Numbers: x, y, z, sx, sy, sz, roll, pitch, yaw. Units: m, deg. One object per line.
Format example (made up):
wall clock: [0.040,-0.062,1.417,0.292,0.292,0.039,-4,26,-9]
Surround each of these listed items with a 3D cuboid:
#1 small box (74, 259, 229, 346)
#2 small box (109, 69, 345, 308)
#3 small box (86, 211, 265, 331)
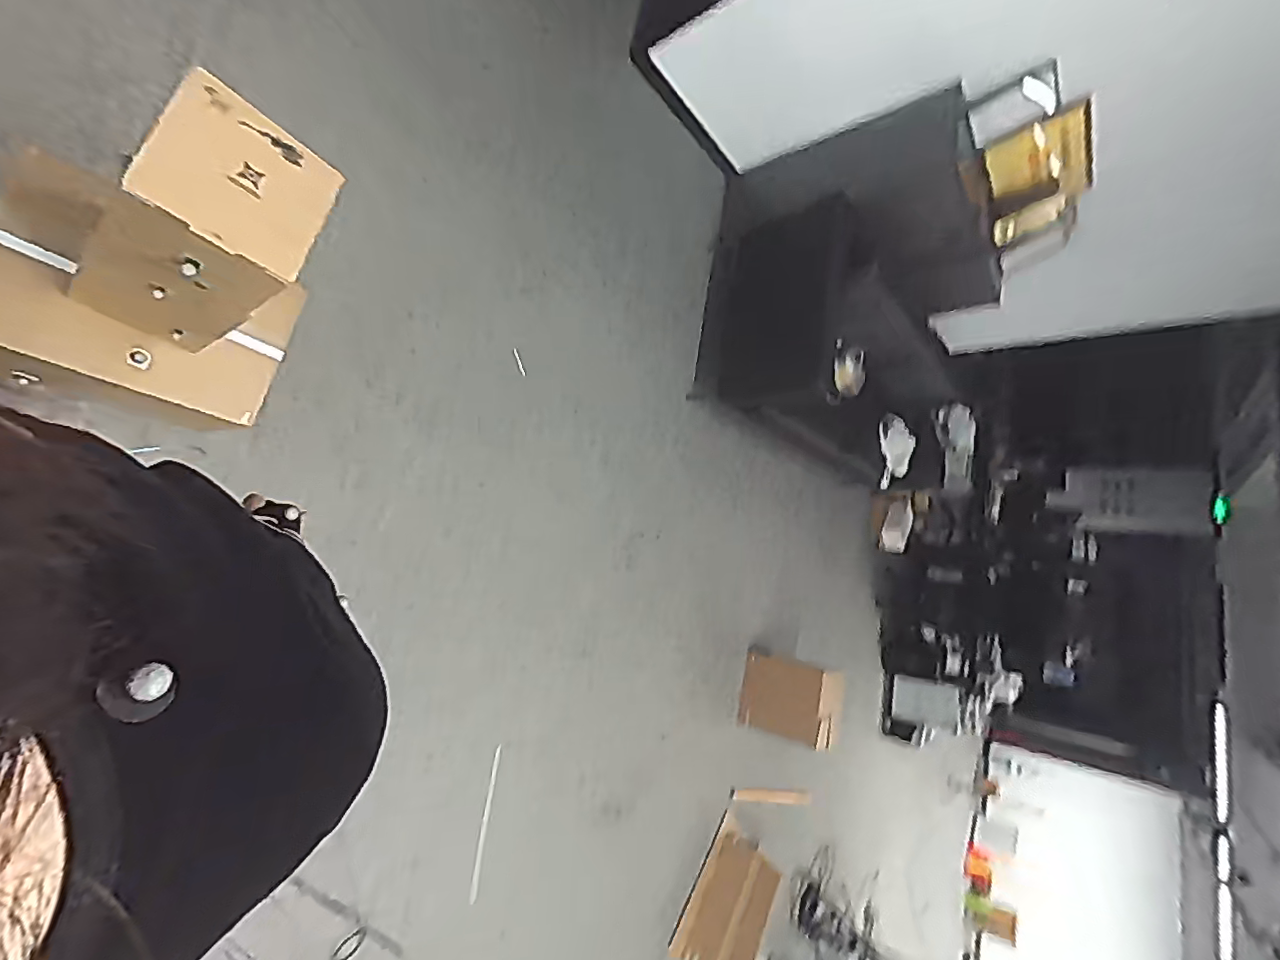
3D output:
small box: [-0.766,-0.336,0.884,0.179,0.176,0.168,31,65,-45]
small box: [-0.513,-0.341,0.674,0.168,0.176,0.179,32,65,-46]
small box: [-0.639,-0.334,0.780,0.179,0.176,0.168,33,64,-44]
